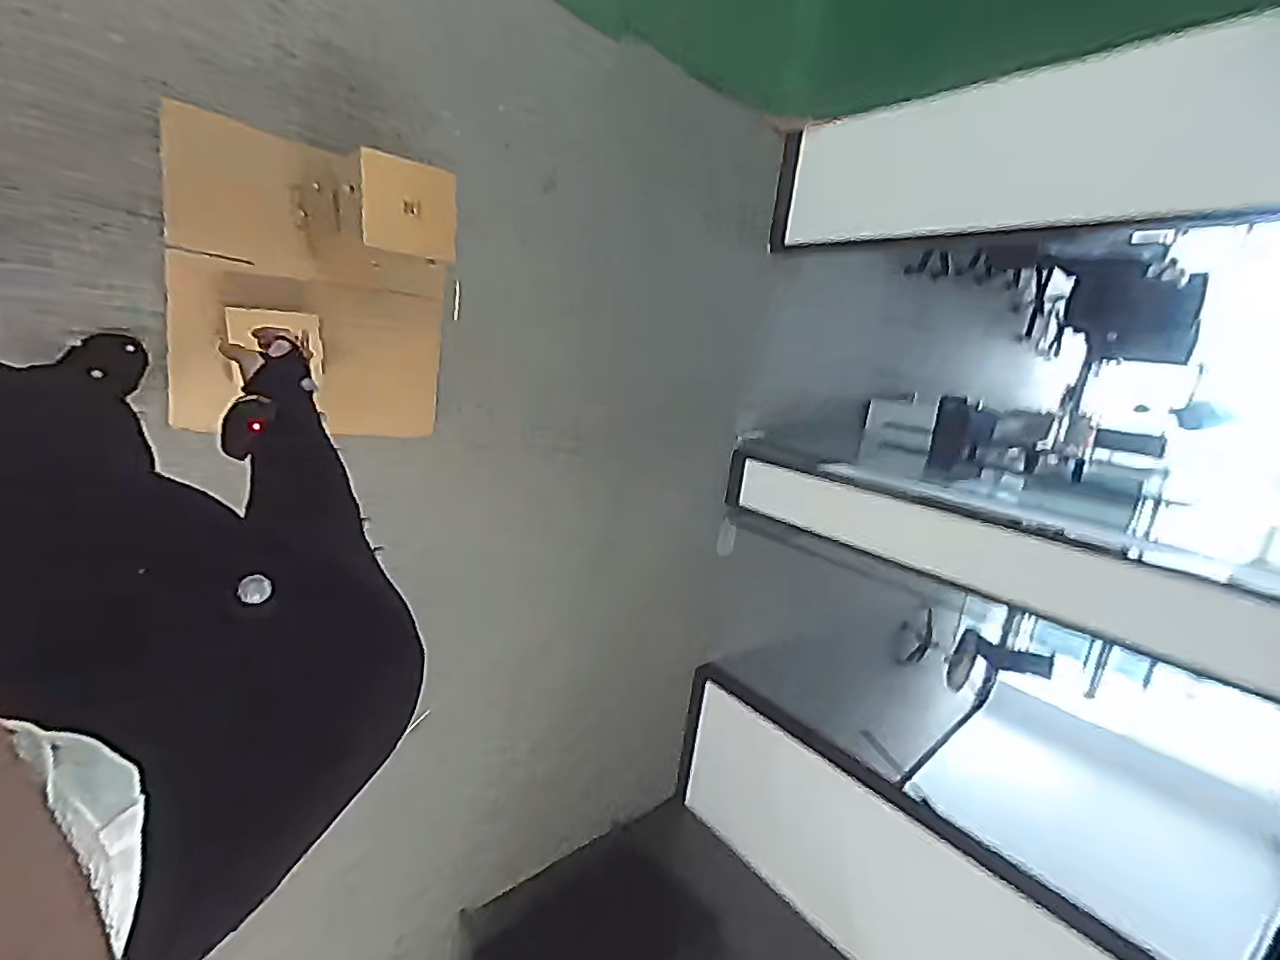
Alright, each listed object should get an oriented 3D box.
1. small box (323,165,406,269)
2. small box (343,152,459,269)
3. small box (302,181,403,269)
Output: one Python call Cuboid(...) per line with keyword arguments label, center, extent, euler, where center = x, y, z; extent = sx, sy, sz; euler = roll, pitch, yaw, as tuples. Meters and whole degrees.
Cuboid(label="small box", center=(-0.584, -0.564, 1.186), extent=(0.179, 0.176, 0.168), euler=(-7, 109, -41))
Cuboid(label="small box", center=(-0.477, -0.520, 1.072), extent=(0.179, 0.176, 0.168), euler=(-6, 108, -41))
Cuboid(label="small box", center=(-0.690, -0.605, 1.303), extent=(0.179, 0.176, 0.168), euler=(-11, 112, -39))
